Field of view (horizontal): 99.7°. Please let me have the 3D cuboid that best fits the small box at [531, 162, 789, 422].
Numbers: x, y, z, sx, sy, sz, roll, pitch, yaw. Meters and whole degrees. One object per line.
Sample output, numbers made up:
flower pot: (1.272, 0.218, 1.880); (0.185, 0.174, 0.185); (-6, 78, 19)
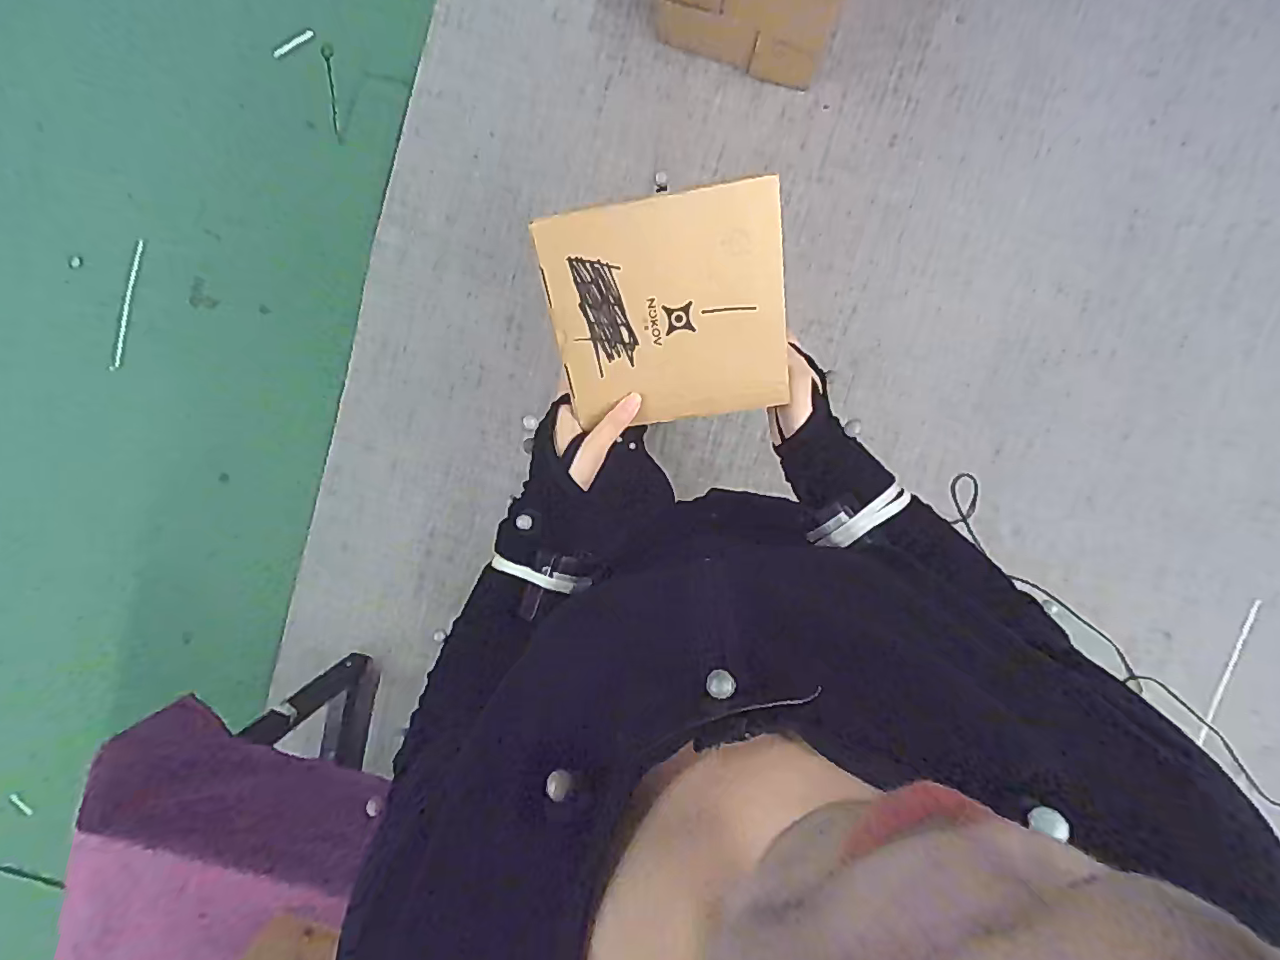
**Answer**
small box: (0.025, -0.167, 0.474); (0.179, 0.176, 0.168); (-8, 119, 7)
